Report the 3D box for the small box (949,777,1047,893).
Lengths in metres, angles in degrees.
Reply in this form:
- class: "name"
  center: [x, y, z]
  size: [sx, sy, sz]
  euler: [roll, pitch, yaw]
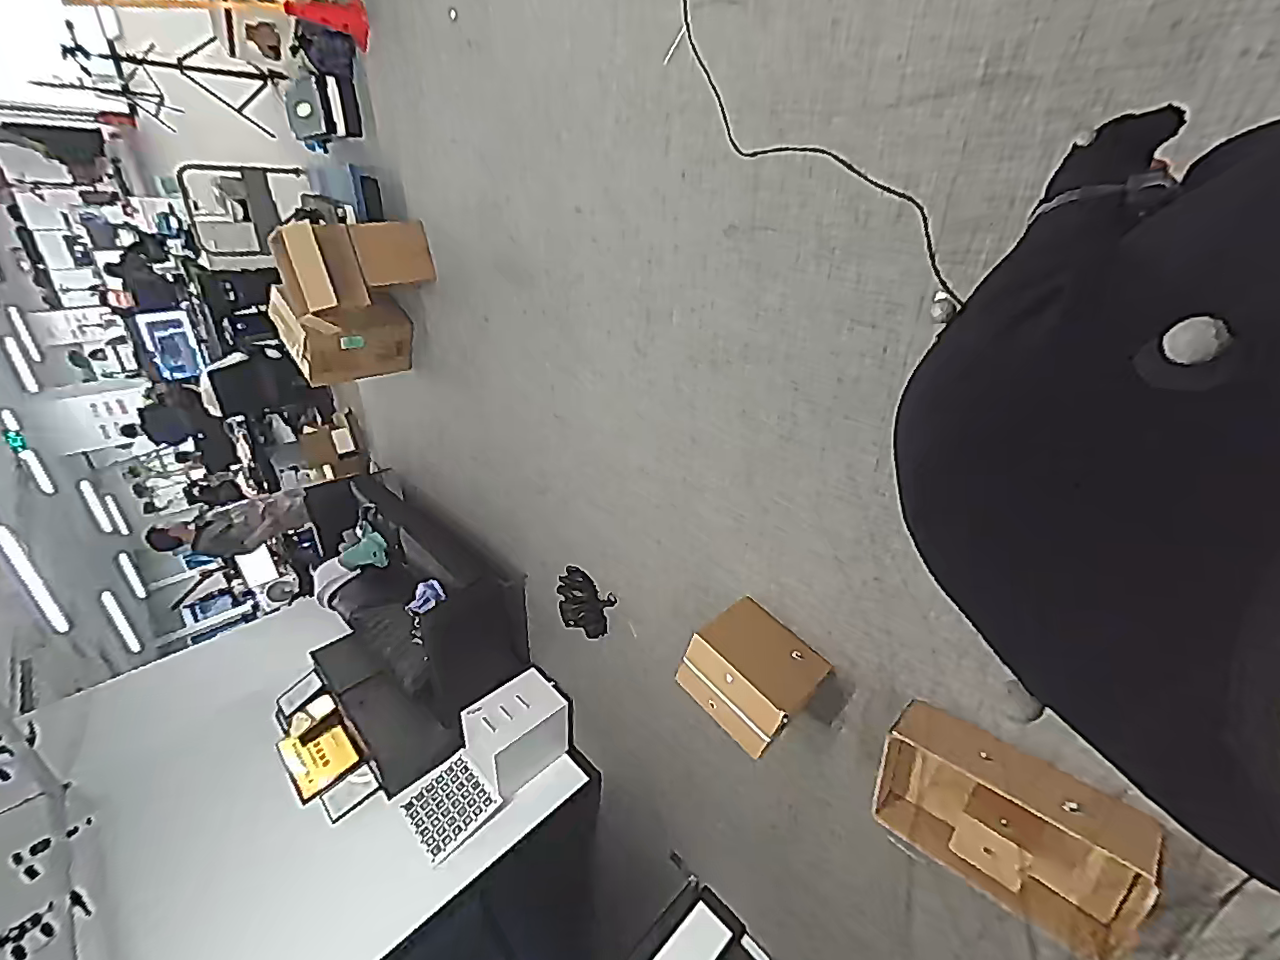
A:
- class: "small box"
  center: [1.007, 0.987, 1.520]
  size: [0.179, 0.176, 0.168]
  euler: [23, 124, 42]
